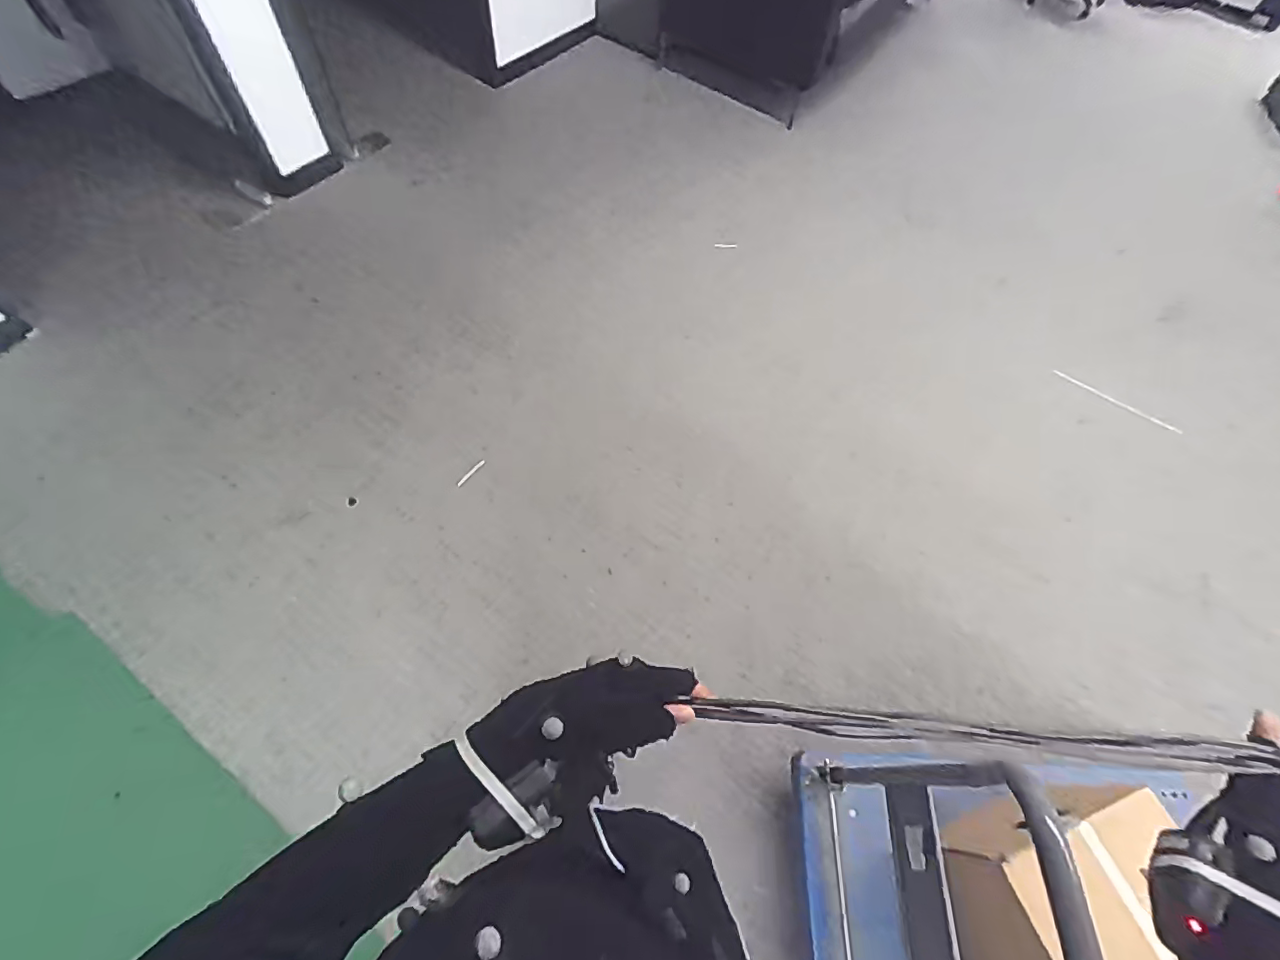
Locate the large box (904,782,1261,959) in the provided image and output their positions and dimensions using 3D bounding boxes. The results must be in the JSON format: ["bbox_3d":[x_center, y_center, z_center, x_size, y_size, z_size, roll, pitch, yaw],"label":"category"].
[{"bbox_3d":[0.744,0.779,0.909,0.320,0.320,0.408,-15,62,-13],"label":"large box"}]
